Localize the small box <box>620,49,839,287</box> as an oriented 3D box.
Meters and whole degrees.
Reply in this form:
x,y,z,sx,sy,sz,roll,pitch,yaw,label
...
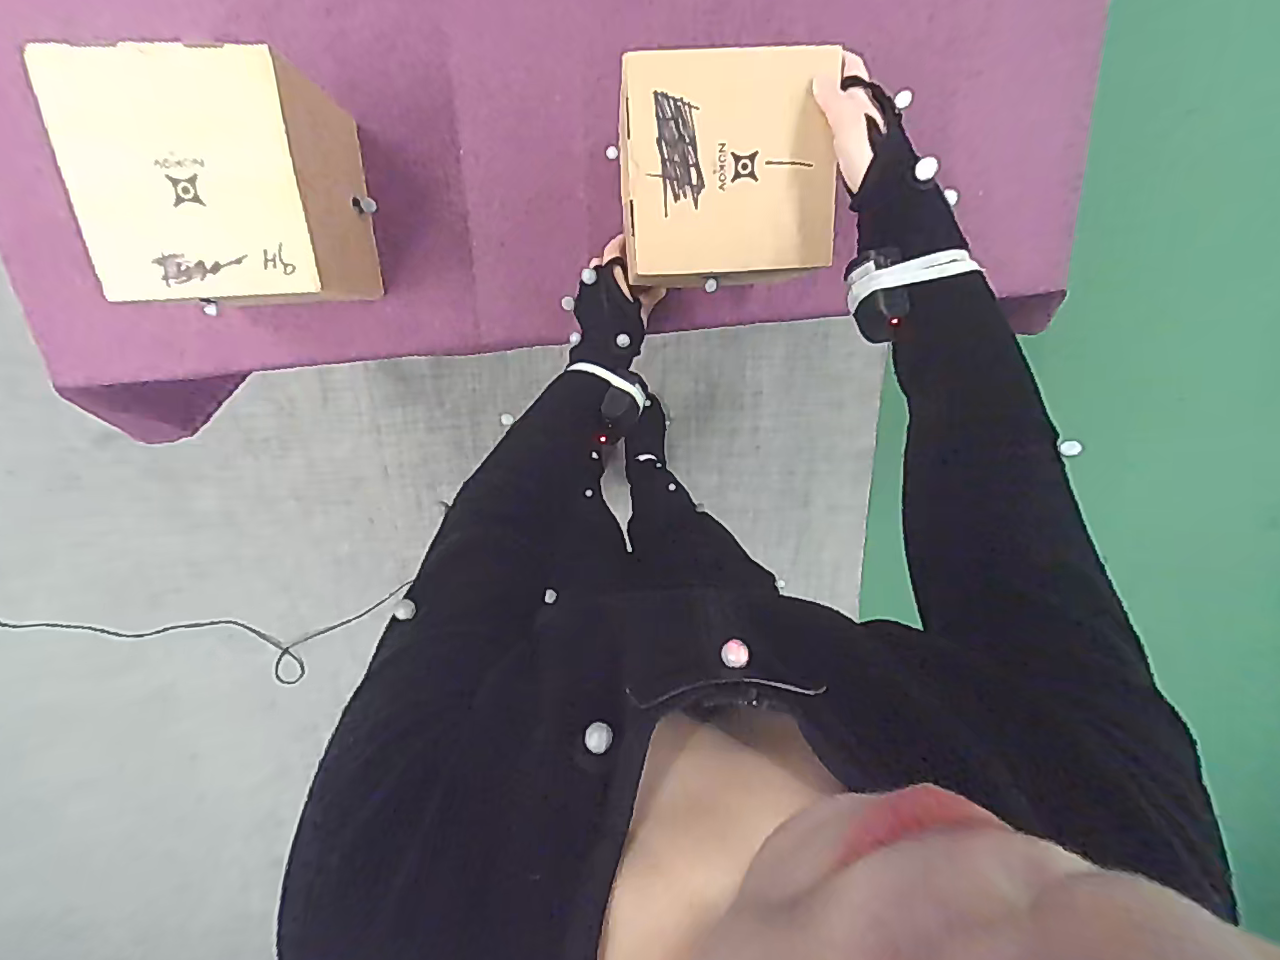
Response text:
x,y,z,sx,sy,sz,roll,pitch,yaw,label
0.071,-0.281,0.525,0.179,0.176,0.168,-3,106,-3,small box

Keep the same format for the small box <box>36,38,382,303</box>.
x,y,z,sx,sy,sz,roll,pitch,yaw,label
-0.358,-0.258,0.493,0.168,0.176,0.179,-4,107,-5,small box
